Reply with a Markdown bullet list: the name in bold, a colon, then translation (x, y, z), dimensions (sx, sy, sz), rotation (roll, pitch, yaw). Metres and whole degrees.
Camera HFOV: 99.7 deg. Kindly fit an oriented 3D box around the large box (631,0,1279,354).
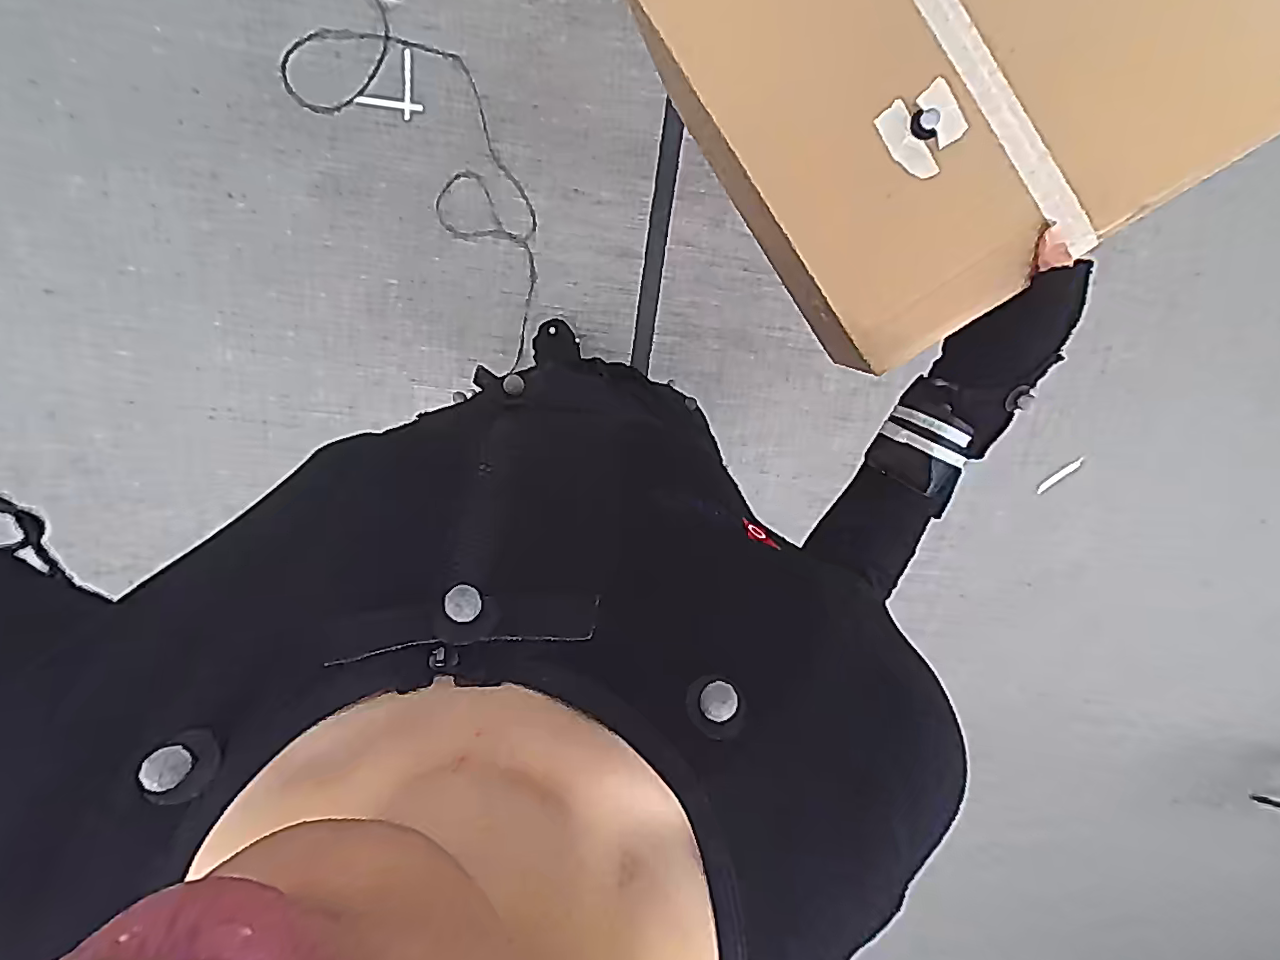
- **large box**: translation (0.236, -0.378, 0.521), dimensions (0.320, 0.320, 0.408), rotation (-33, 95, 20)
